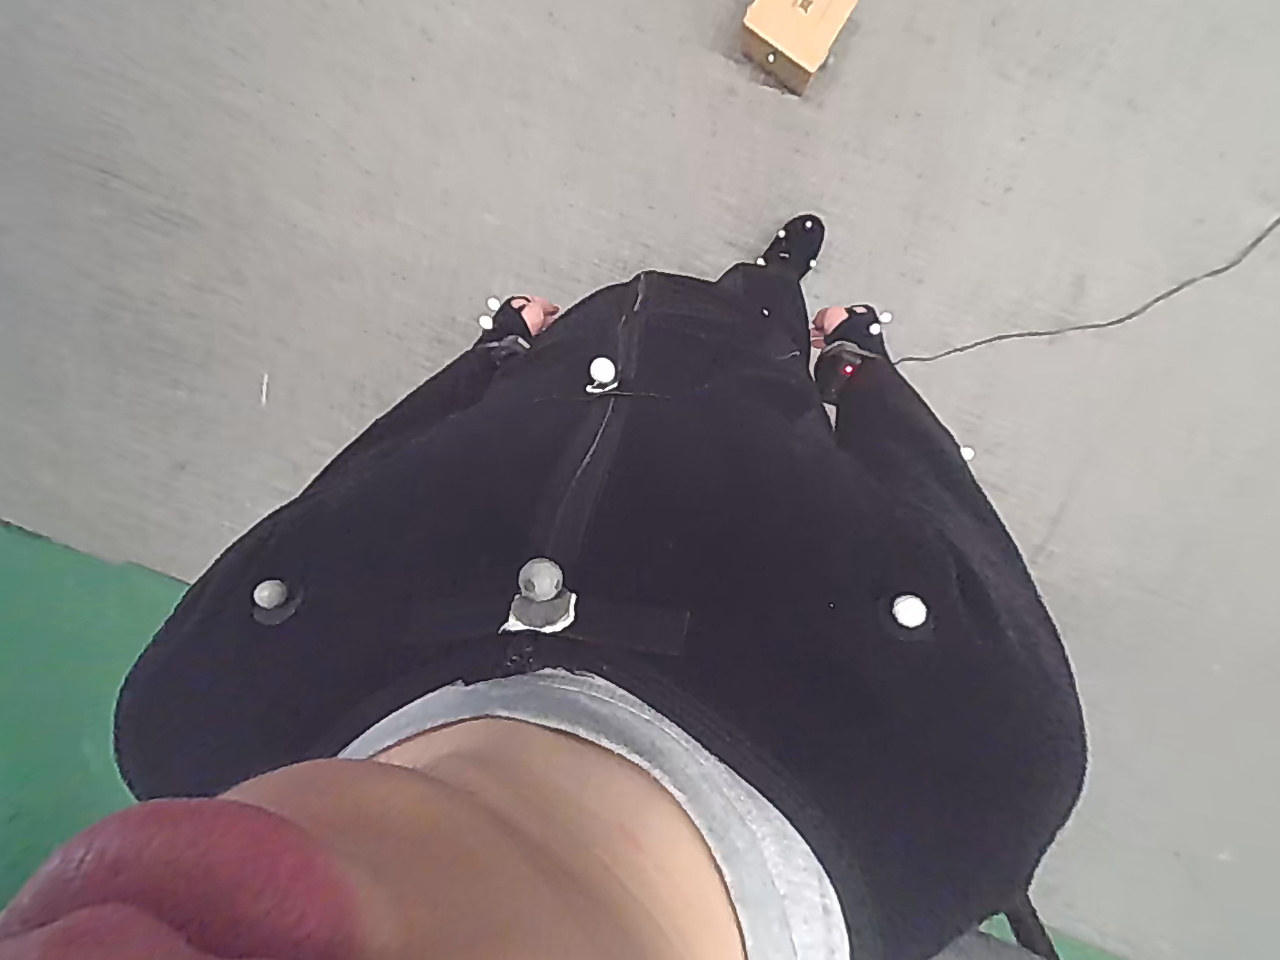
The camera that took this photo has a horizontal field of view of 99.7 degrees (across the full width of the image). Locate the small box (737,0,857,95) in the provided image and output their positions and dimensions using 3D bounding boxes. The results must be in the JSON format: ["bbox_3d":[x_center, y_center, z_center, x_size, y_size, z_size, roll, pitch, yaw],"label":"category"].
[{"bbox_3d":[0.317,-0.947,1.127,0.179,0.176,0.168,32,114,-6],"label":"small box"}]
